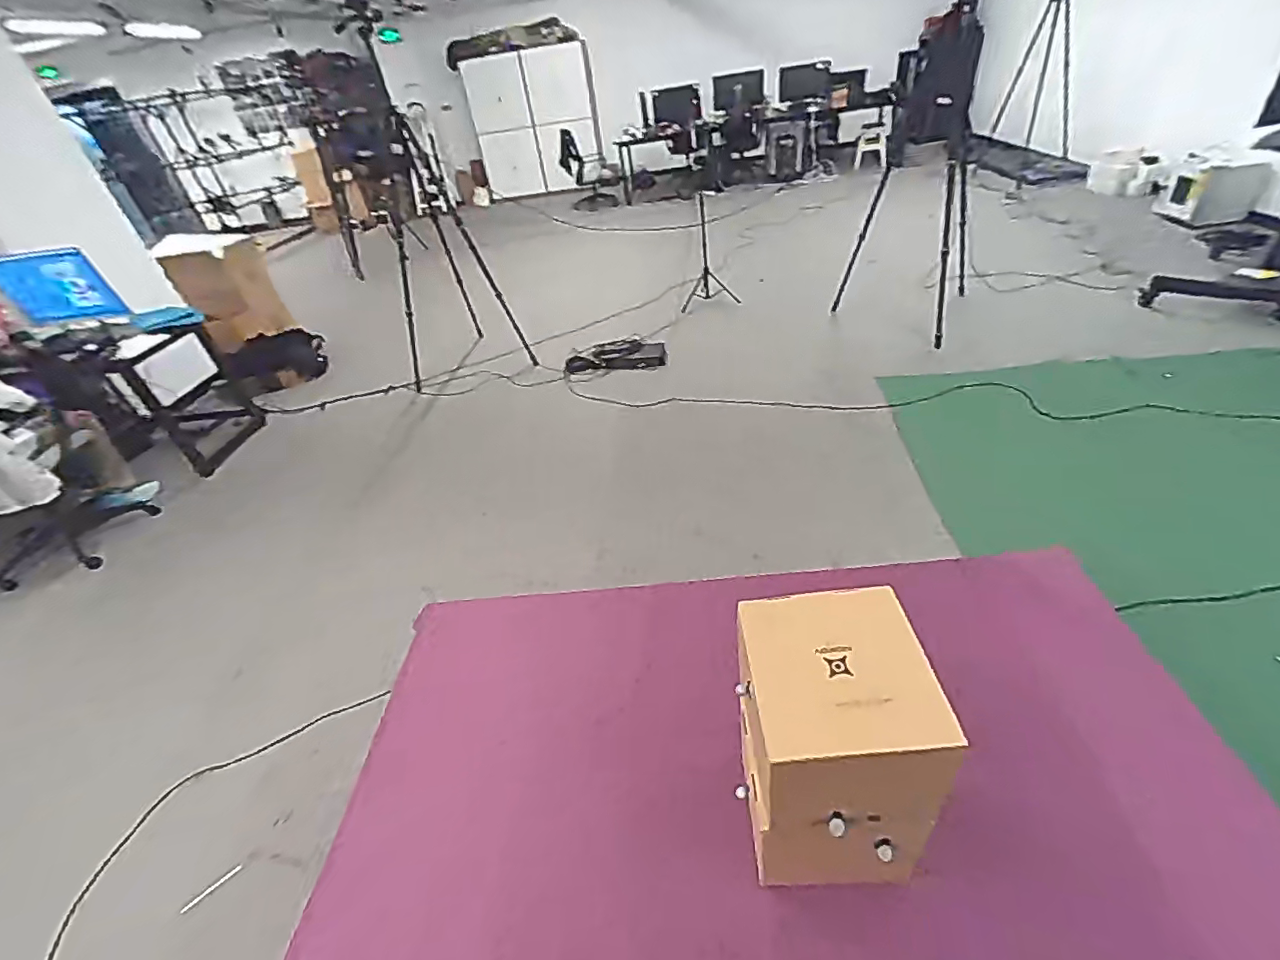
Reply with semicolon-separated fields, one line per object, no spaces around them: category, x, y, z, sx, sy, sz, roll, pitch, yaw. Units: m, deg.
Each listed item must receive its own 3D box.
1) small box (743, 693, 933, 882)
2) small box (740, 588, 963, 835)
small box;0.225;0.370;0.666;0.179;0.176;0.168;-7;37;6
small box;0.200;0.241;0.569;0.168;0.176;0.179;-8;38;5
